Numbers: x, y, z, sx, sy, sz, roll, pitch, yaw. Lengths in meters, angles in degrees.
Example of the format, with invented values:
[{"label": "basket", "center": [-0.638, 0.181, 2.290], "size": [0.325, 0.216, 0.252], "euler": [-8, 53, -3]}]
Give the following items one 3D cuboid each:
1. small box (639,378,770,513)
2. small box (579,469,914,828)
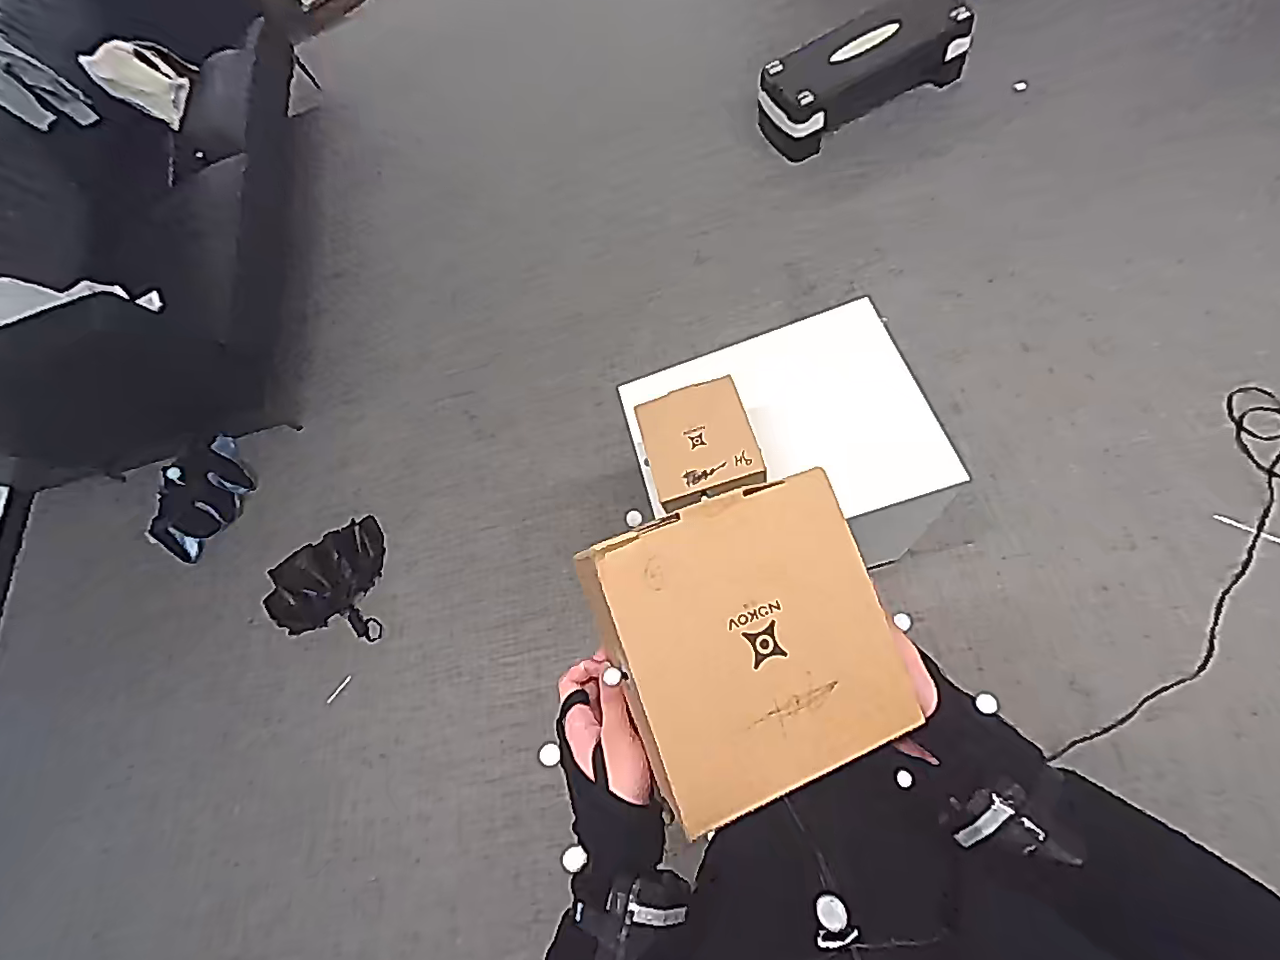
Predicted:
[{"label": "small box", "center": [0.110, -0.034, 0.898], "size": [0.168, 0.176, 0.179], "euler": [-18, 65, 8]}, {"label": "small box", "center": [0.058, 0.109, 0.411], "size": [0.168, 0.176, 0.179], "euler": [-18, 85, -12]}]
